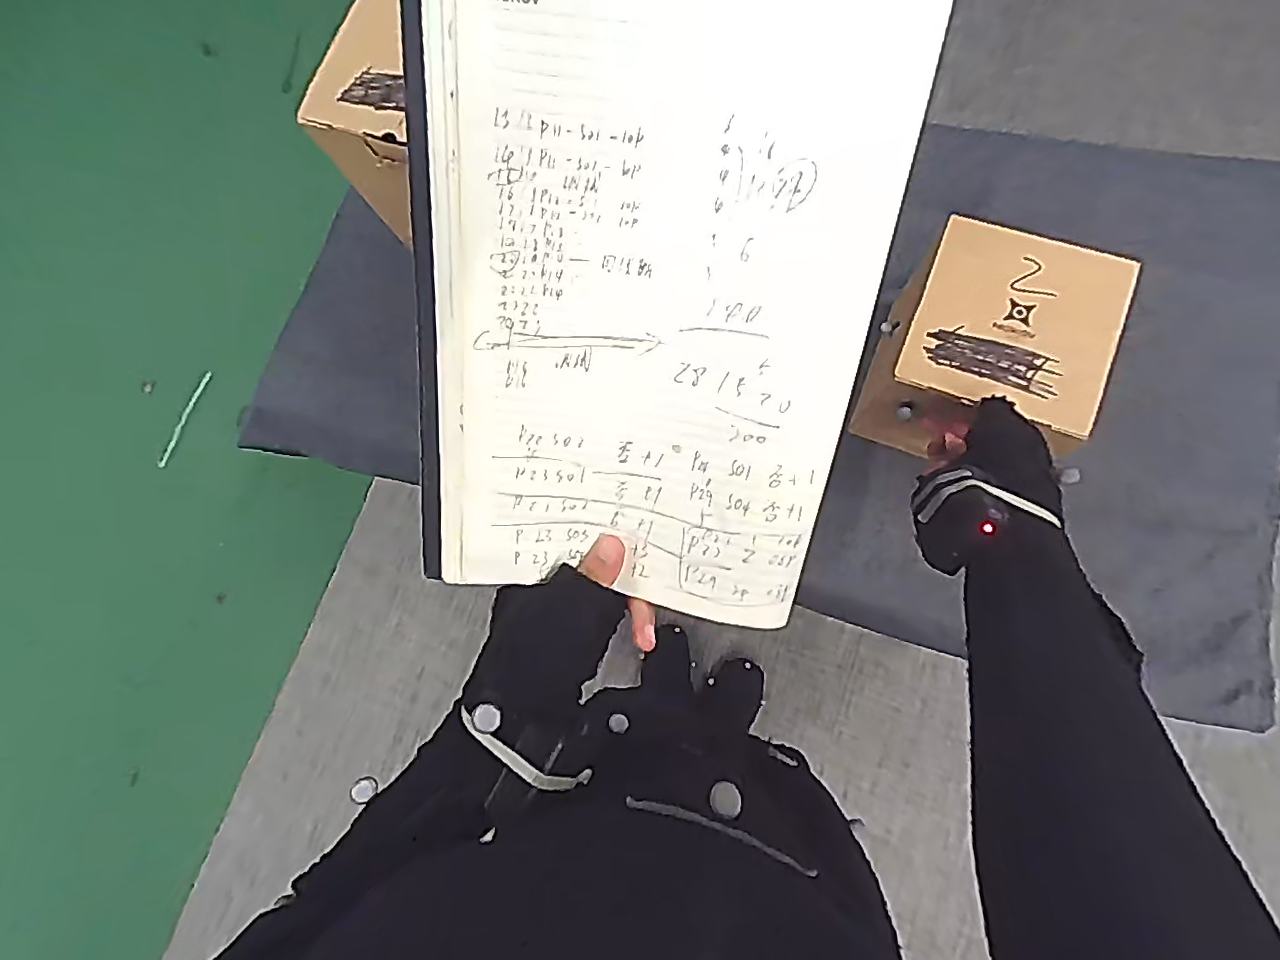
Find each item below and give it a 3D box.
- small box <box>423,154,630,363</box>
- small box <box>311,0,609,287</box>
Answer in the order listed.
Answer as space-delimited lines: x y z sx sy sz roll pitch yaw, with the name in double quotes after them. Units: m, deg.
-0.118 -0.269 0.648 0.168 0.176 0.179 18 81 11 "small box"
-0.139 -0.307 0.489 0.168 0.176 0.179 19 80 10 "small box"
